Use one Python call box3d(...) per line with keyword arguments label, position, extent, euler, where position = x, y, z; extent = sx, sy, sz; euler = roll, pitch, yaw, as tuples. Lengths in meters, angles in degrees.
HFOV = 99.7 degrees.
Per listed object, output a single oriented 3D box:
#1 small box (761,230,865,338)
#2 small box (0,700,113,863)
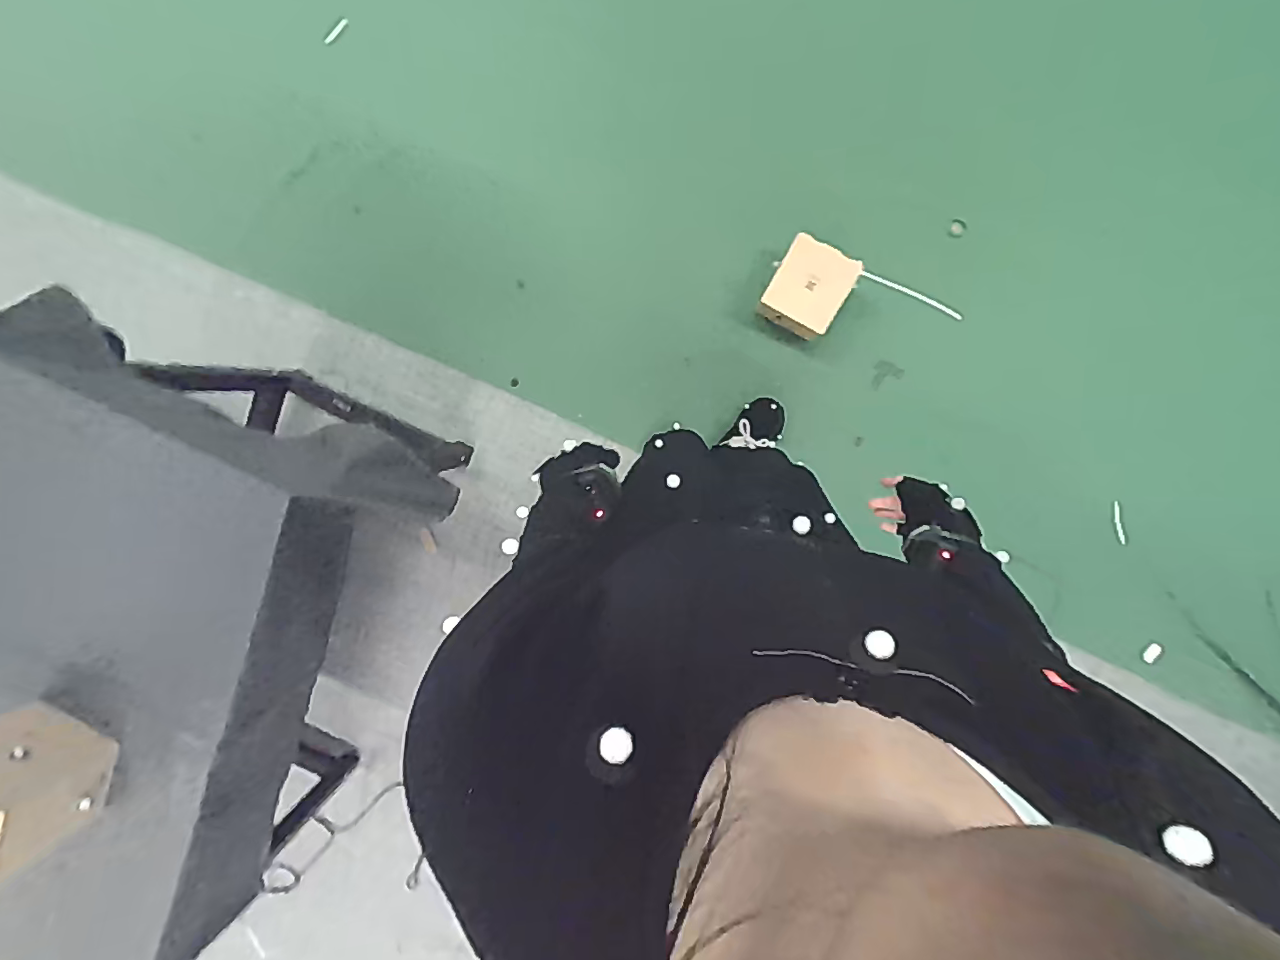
box3d(label="small box", position=(0.404, -0.460, 1.300), extent=(0.168, 0.176, 0.179), euler=(30, 101, 2))
box3d(label="small box", position=(-1.034, 0.491, 0.878), extent=(0.179, 0.176, 0.168), euler=(25, 101, 2))
